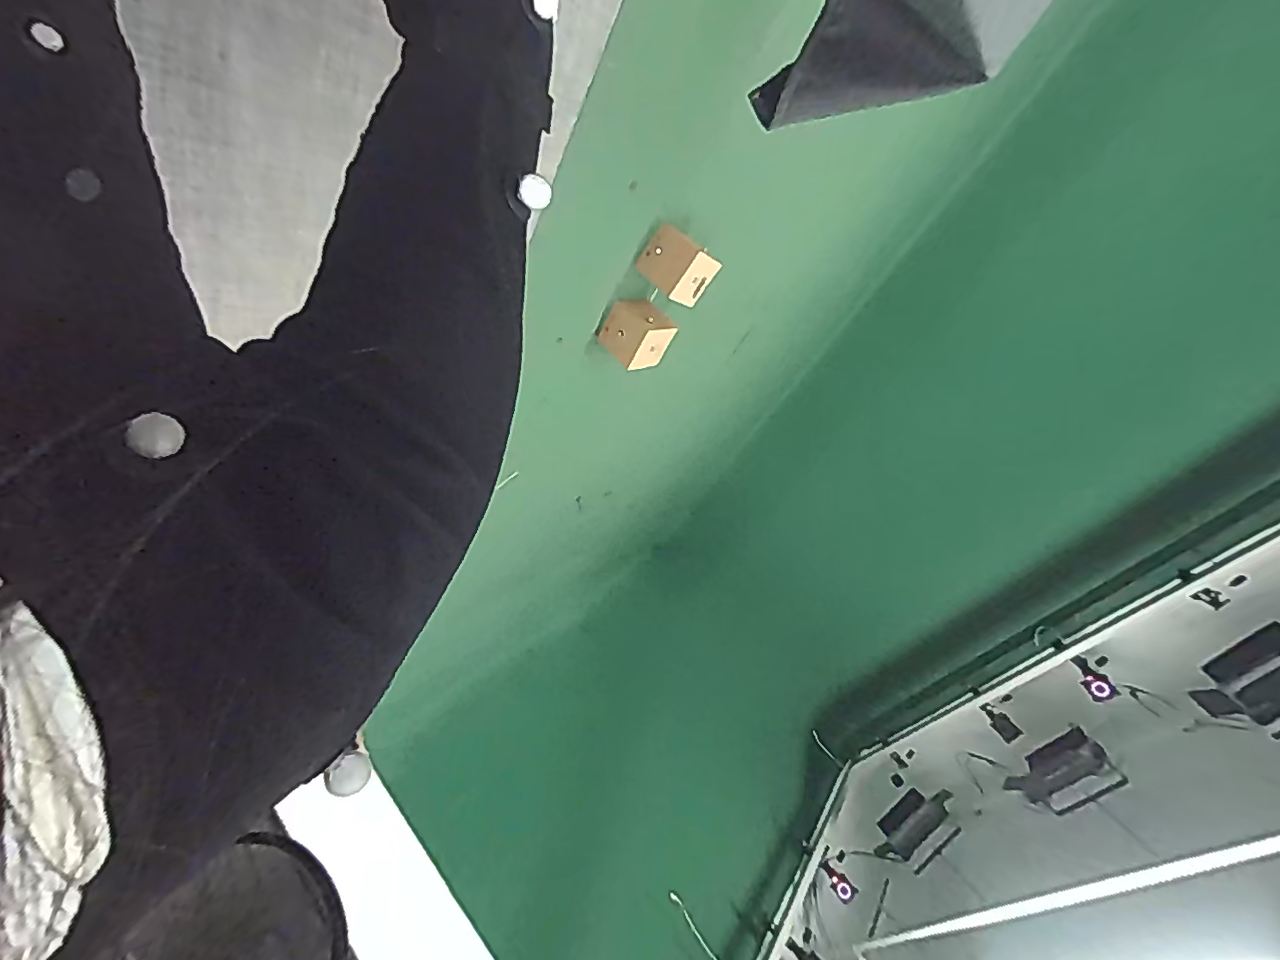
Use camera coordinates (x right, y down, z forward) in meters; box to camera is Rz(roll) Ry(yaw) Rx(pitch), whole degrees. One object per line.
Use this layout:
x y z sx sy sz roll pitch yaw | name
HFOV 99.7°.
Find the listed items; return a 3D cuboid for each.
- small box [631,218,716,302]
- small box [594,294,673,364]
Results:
0.105 -0.700 1.722 0.168 0.176 0.179 -52 161 24 | small box
-0.028 -0.521 1.854 0.179 0.176 0.168 -25 156 -50 | small box
